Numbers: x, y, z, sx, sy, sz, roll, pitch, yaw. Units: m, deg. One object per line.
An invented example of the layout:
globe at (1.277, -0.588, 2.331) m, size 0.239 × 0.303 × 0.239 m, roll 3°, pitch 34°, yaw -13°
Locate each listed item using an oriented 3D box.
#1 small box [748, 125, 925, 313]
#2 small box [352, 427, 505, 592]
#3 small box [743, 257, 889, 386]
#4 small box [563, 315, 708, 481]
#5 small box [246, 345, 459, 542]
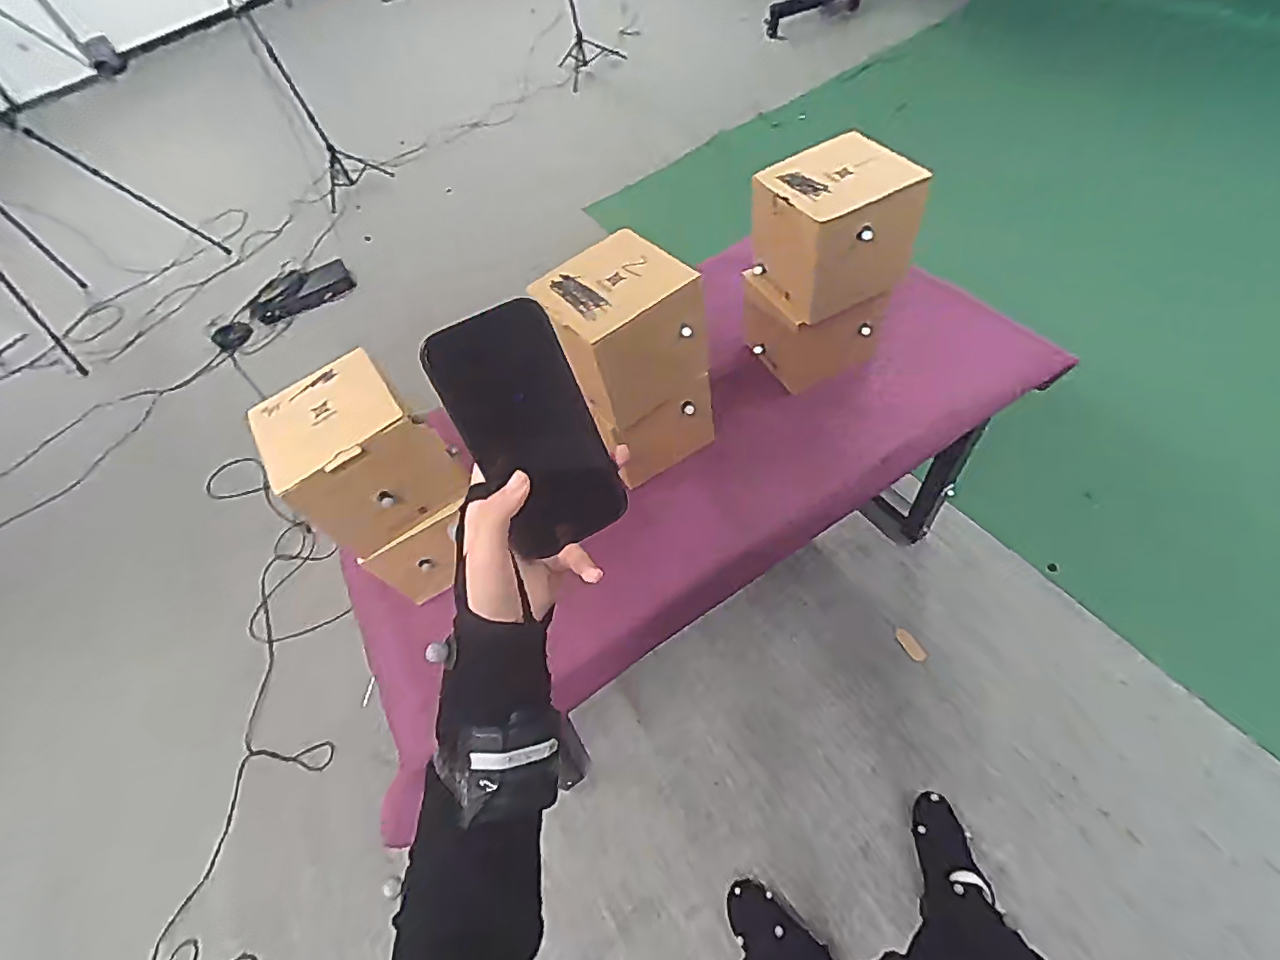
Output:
small box at (0.279, -0.381, 0.803) m, size 0.179 × 0.176 × 0.168 m, roll -26°, pitch 55°, yaw -6°
small box at (-0.339, 0.056, 0.855) m, size 0.168 × 0.176 × 0.179 m, roll -31°, pitch 56°, yaw -8°
small box at (0.295, -0.298, 0.943) m, size 0.179 × 0.176 × 0.168 m, roll -26°, pitch 55°, yaw -5°
small box at (0.001, -0.133, 0.900) m, size 0.179 × 0.176 × 0.168 m, roll -32°, pitch 56°, yaw -8°
small box at (-0.374, -0.038, 0.725) m, size 0.168 × 0.176 × 0.179 m, roll -35°, pitch 57°, yaw -11°
